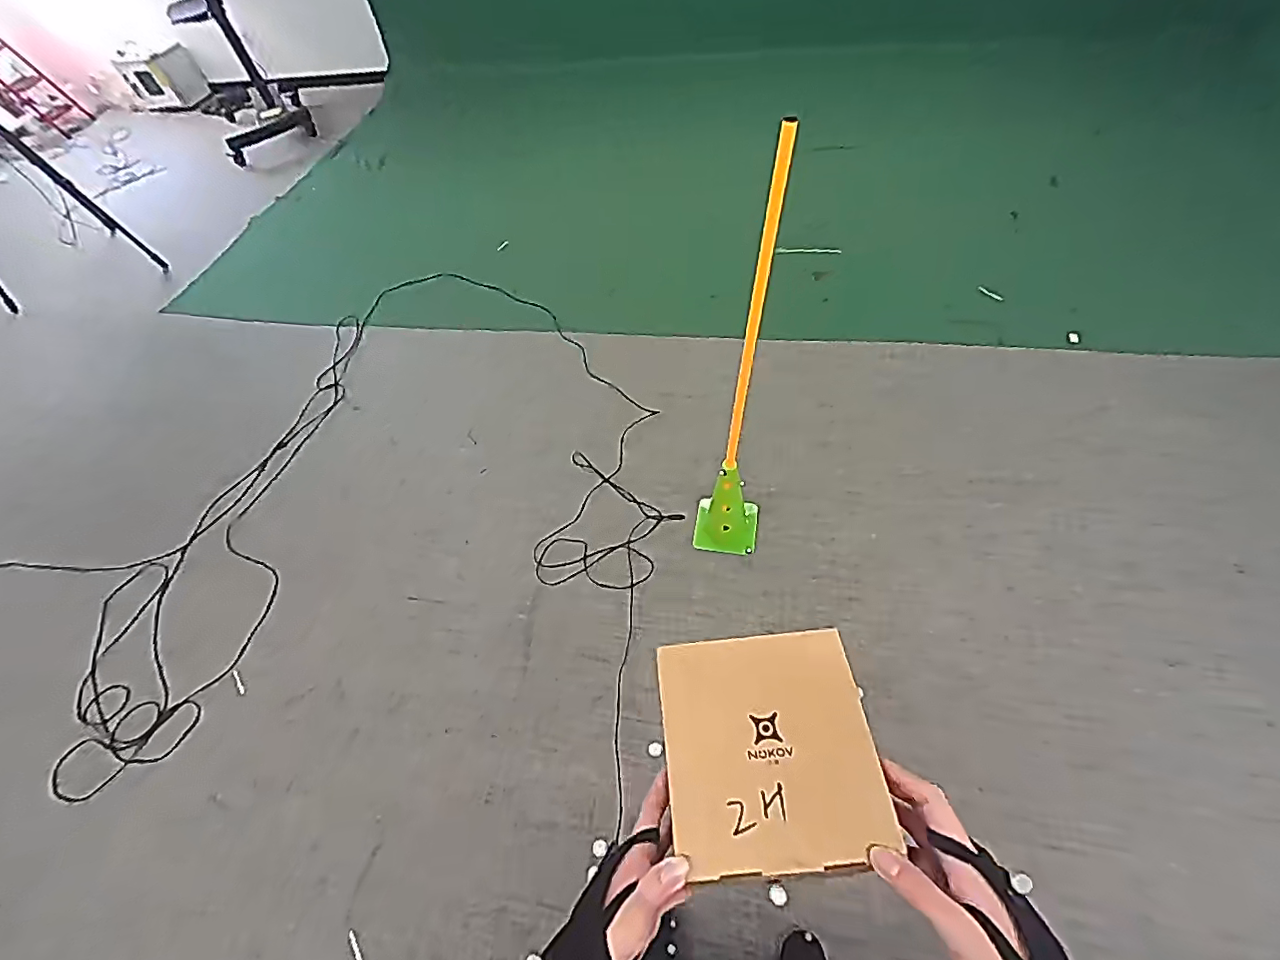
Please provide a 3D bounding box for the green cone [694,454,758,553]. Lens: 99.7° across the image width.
[{"bbox_3d":[0.267,0.045,1.658,0.202,0.368,0.200,5,55,12],"label":"green cone"}]
